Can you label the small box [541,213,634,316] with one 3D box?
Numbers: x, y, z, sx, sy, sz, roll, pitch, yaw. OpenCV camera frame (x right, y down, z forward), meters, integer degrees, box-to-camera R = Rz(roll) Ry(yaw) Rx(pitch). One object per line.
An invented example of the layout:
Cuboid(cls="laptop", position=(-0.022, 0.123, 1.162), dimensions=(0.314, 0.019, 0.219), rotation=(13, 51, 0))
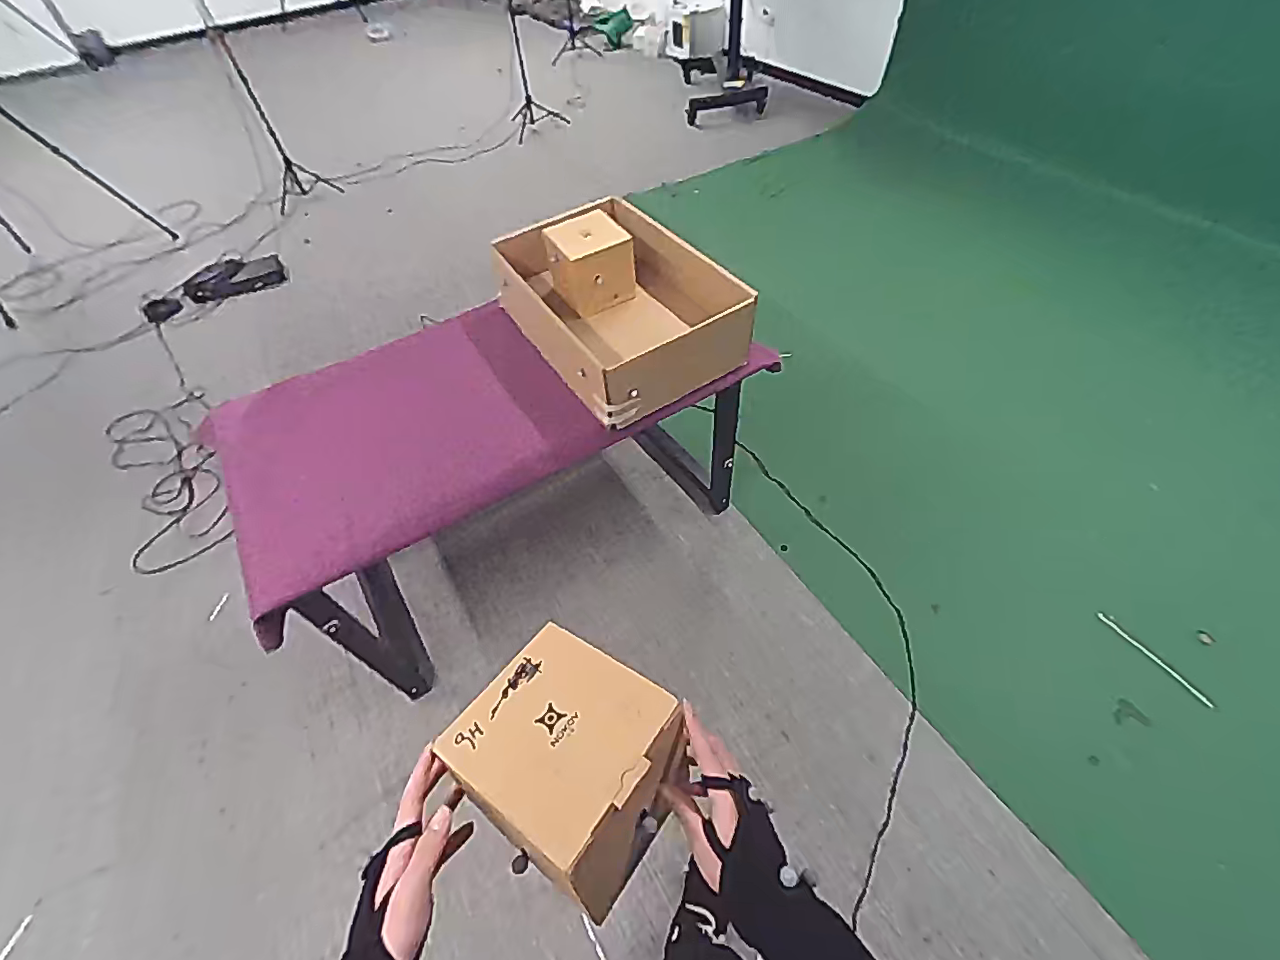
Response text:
Cuboid(cls="small box", position=(-0.128, -0.545, 1.387), dimensions=(0.168, 0.176, 0.179), rotation=(-28, 55, -14))
